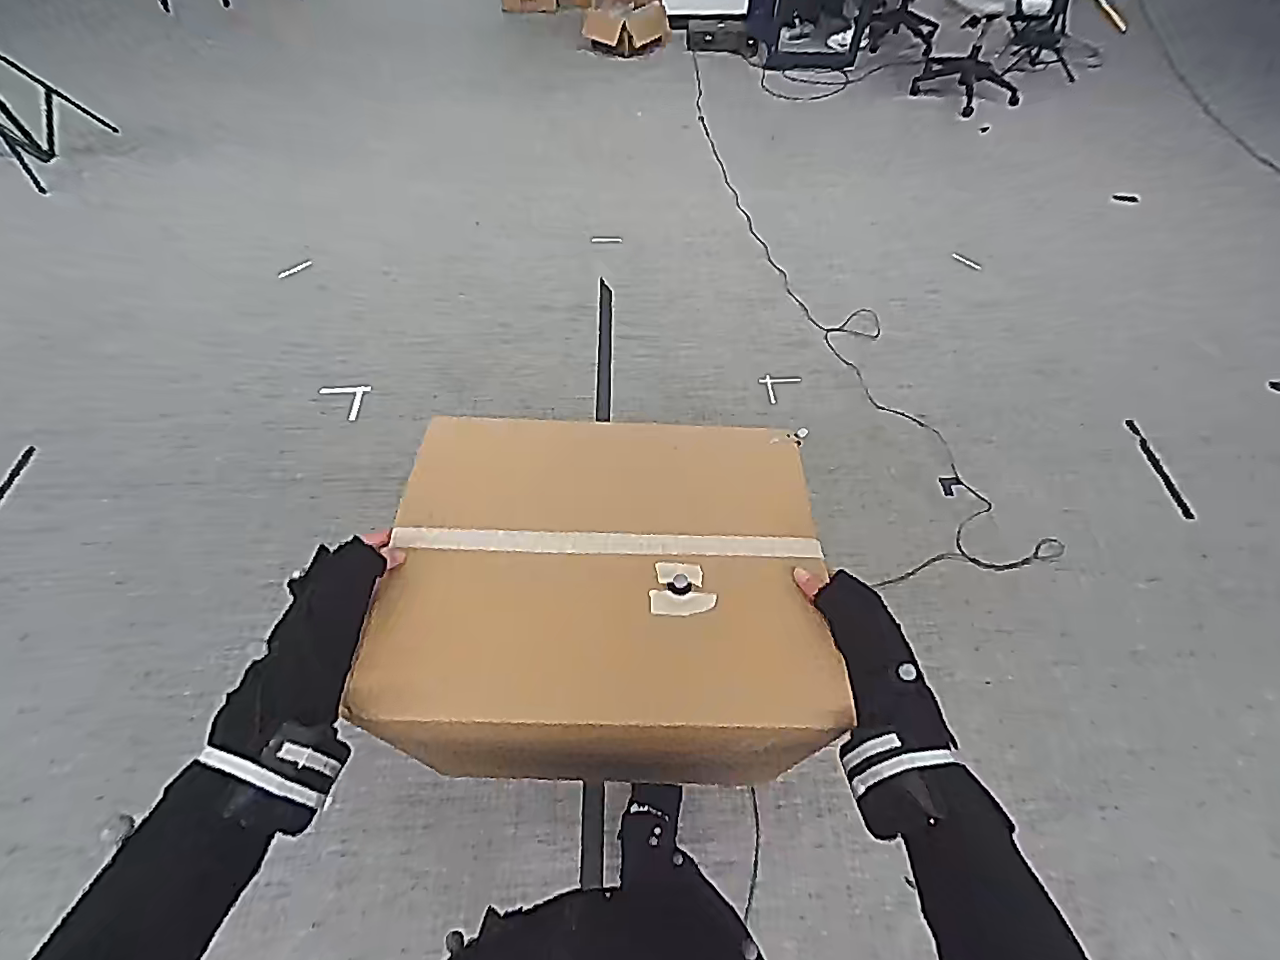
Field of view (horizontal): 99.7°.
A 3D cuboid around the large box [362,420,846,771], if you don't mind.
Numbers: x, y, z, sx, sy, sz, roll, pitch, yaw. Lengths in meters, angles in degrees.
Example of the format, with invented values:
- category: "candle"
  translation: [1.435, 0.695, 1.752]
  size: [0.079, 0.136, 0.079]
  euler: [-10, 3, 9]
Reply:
- category: "large box"
  translation: [-0.033, 0.149, 0.644]
  size: [0.408, 0.320, 0.320]
  euler: [2, 53, -1]
